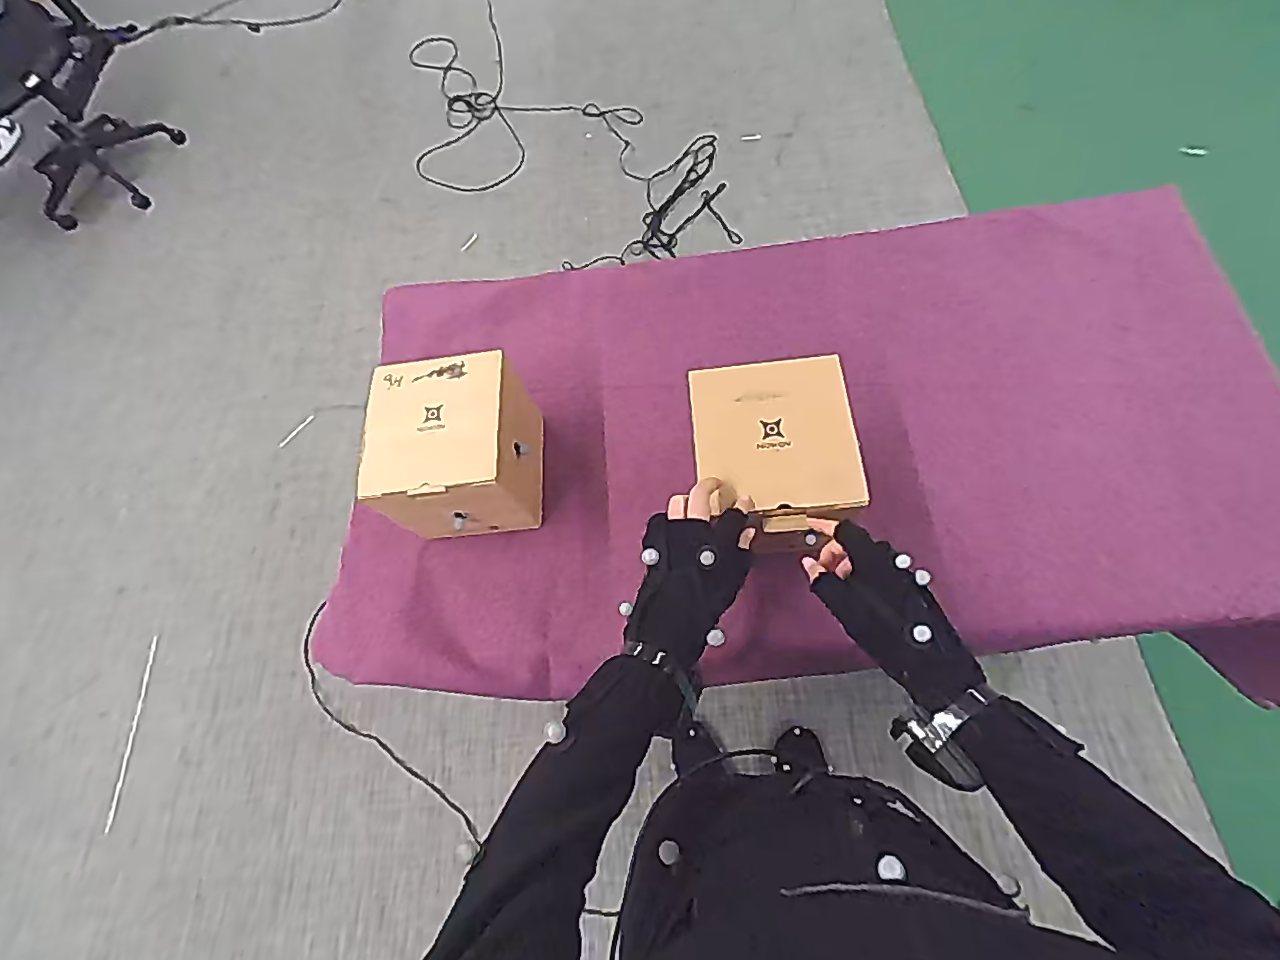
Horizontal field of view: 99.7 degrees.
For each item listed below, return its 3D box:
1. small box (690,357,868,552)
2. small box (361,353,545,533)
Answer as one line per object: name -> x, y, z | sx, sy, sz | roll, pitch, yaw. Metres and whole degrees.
small box -> 0.150, -0.017, 0.636 | 0.168, 0.176, 0.179 | -5, 67, 6
small box -> -0.225, -0.035, 0.699 | 0.168, 0.176, 0.179 | -6, 68, 6
